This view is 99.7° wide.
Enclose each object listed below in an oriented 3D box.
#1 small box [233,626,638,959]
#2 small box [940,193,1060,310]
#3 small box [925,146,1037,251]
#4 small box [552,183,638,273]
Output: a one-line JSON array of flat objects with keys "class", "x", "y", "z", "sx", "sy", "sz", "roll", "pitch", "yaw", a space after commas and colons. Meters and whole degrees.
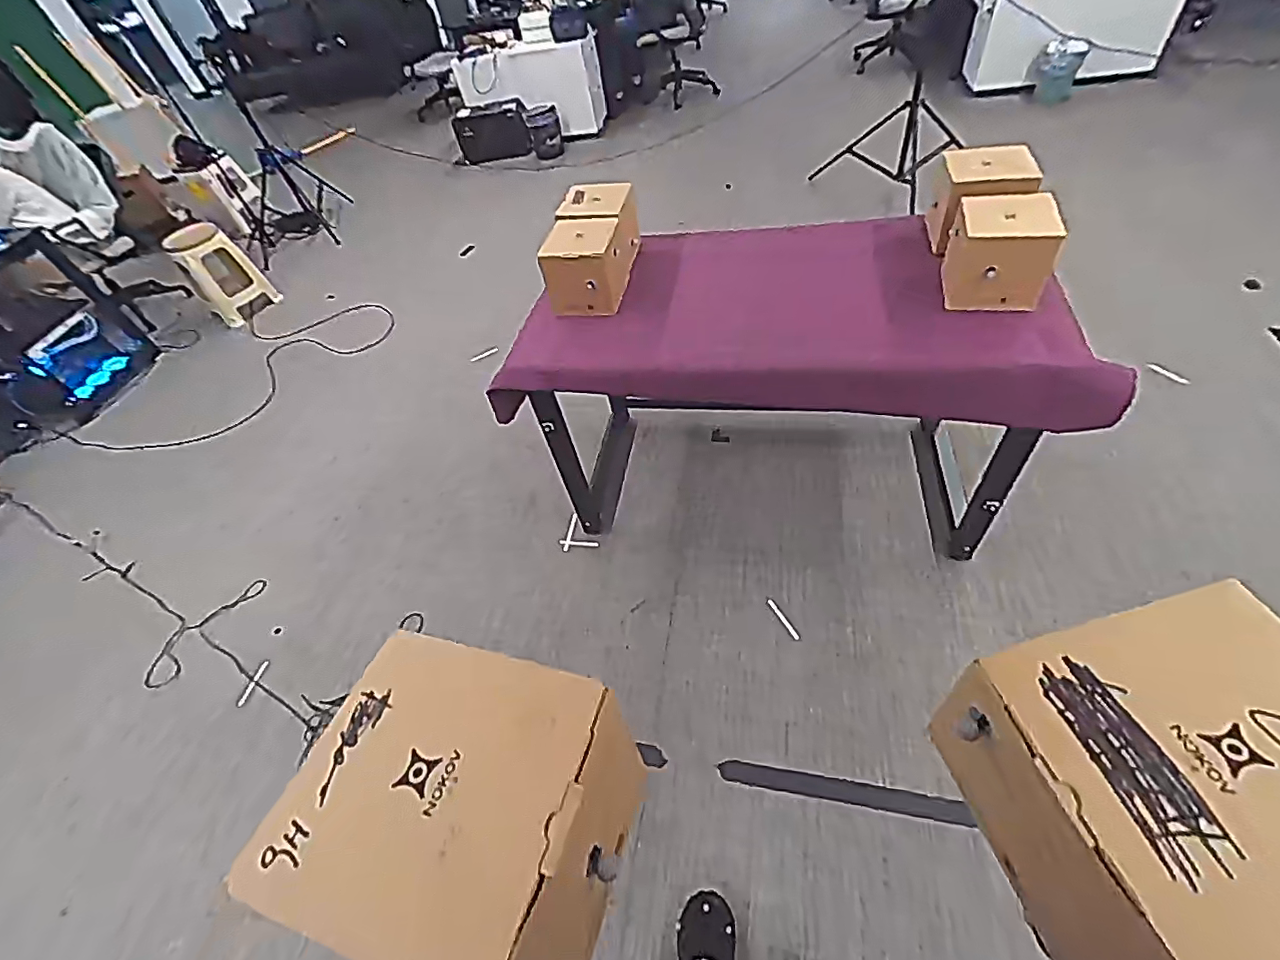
[{"class": "small box", "x": -0.110, "y": 0.232, "z": 0.379, "sx": 0.179, "sy": 0.176, "sz": 0.168, "roll": 8, "pitch": 48, "yaw": 18}, {"class": "small box", "x": 0.745, "y": -0.476, "z": 1.140, "sx": 0.168, "sy": 0.176, "sz": 0.179, "roll": 6, "pitch": 52, "yaw": 17}, {"class": "small box", "x": 0.785, "y": -0.654, "z": 1.269, "sx": 0.179, "sy": 0.176, "sz": 0.168, "roll": 4, "pitch": 53, "yaw": 14}, {"class": "small box", "x": -0.114, "y": -0.682, "z": 1.474, "sx": 0.179, "sy": 0.176, "sz": 0.168, "roll": 5, "pitch": 54, "yaw": 14}]
